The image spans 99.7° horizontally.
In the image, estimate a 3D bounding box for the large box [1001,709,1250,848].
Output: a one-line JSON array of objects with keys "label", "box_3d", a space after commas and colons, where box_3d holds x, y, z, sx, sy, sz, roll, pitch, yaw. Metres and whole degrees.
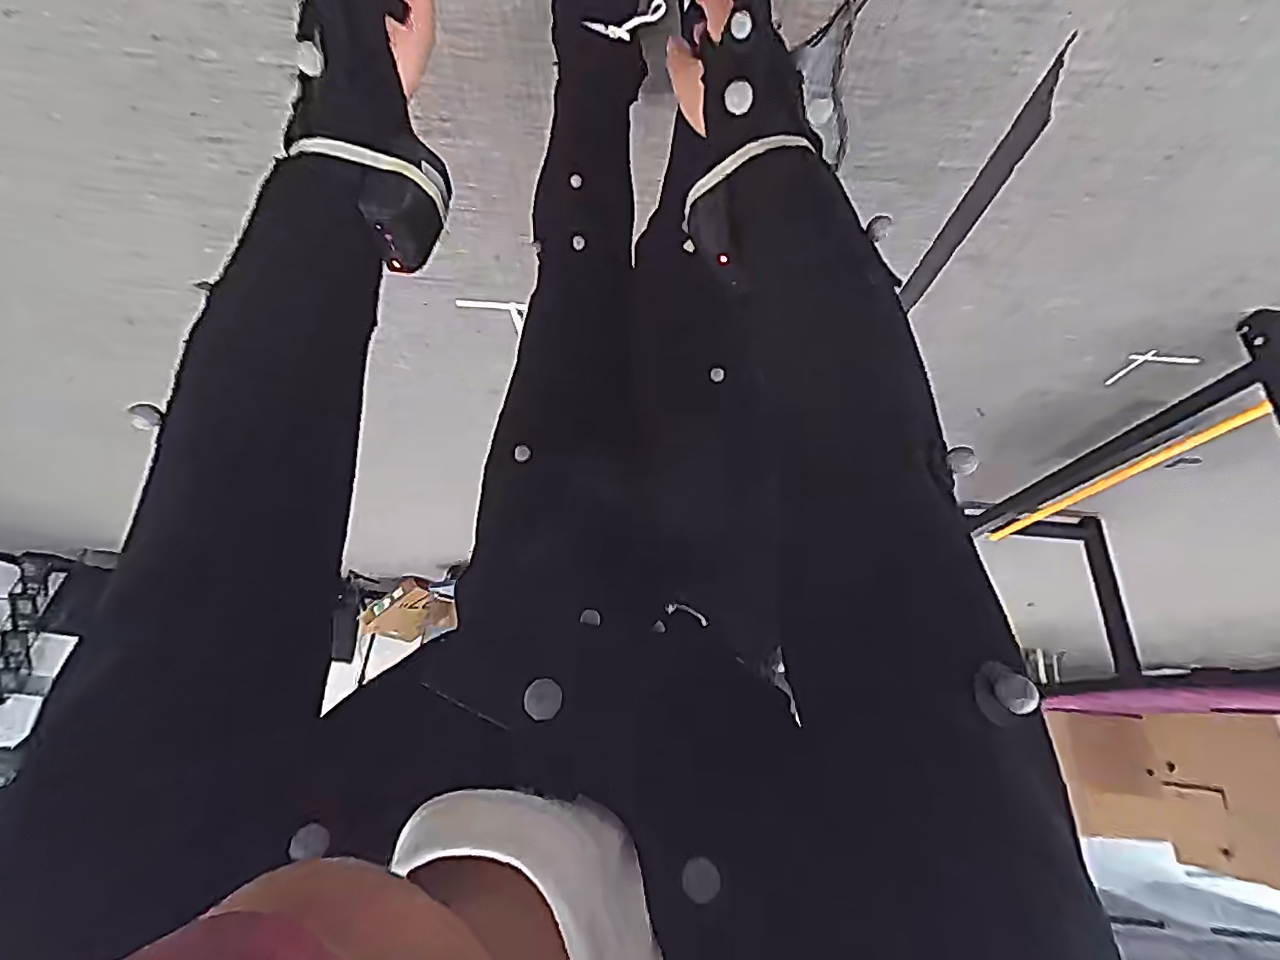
[{"label": "large box", "box_3d": [1.380, 0.857, 1.591, 0.408, 0.320, 0.320, 4, 157, 1]}]

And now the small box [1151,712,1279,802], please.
[{"label": "small box", "box_3d": [1.373, 0.651, 1.282, 0.168, 0.176, 0.179, 4, 157, 2]}]
